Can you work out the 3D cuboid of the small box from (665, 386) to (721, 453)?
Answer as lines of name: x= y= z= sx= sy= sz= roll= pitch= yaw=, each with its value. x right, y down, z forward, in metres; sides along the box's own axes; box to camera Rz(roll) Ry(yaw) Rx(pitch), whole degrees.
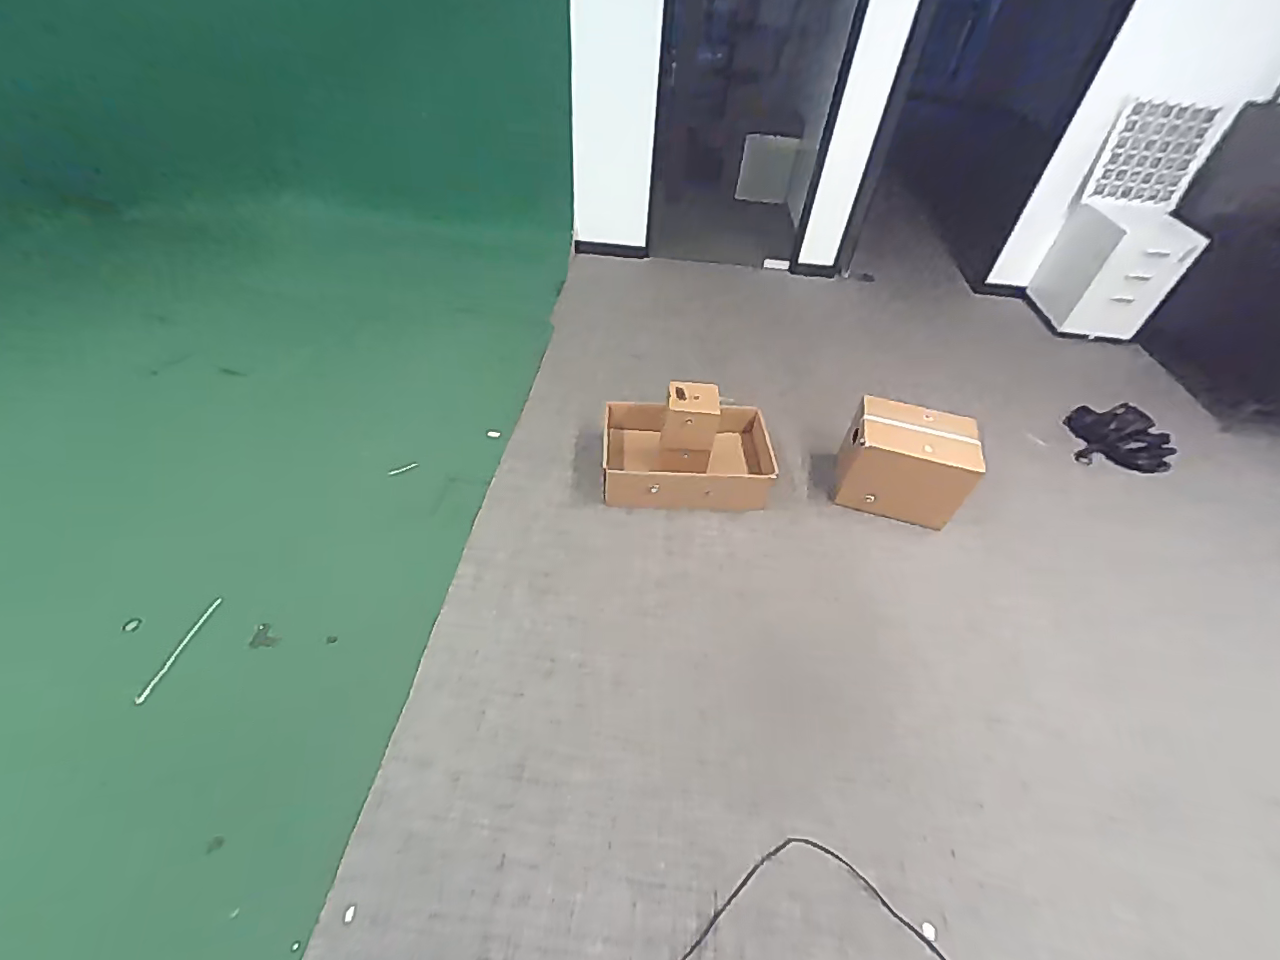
small box: x=0.183 y=-0.213 z=1.923 sx=0.179 sy=0.176 sz=0.168 roll=6 pitch=45 yaw=-2

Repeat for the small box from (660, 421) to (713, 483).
small box: x=0.169 y=-0.106 z=2.048 sx=0.179 sy=0.176 sz=0.168 roll=4 pitch=46 yaw=-4
